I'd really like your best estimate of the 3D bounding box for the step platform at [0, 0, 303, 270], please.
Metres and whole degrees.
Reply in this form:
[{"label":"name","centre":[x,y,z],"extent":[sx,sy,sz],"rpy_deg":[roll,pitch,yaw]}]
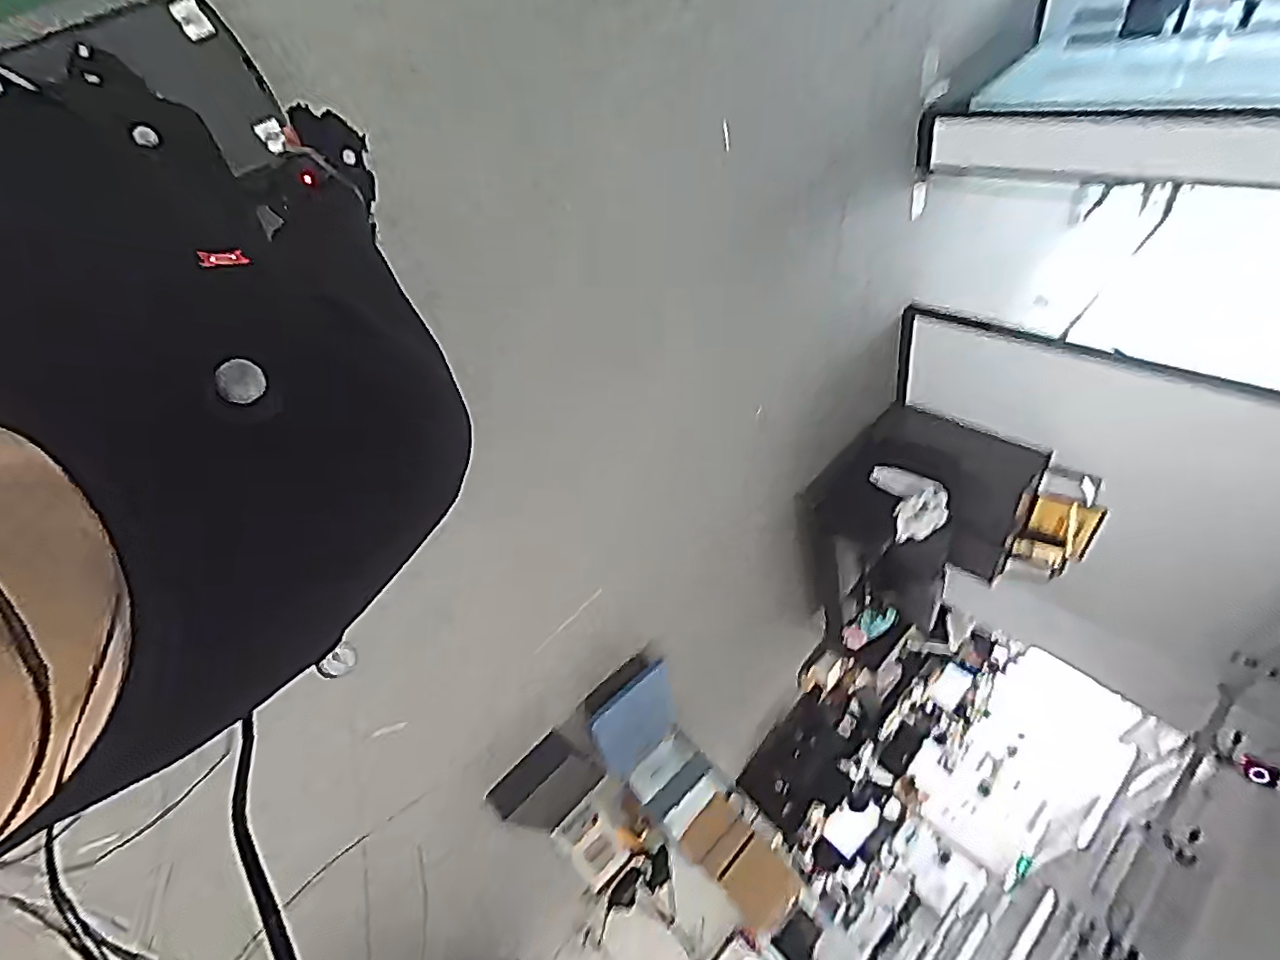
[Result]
[{"label":"step platform","centre":[-0.929,-0.573,0.849],"extent":[0.684,0.204,0.286],"rpy_deg":[-41,140,-17]}]
